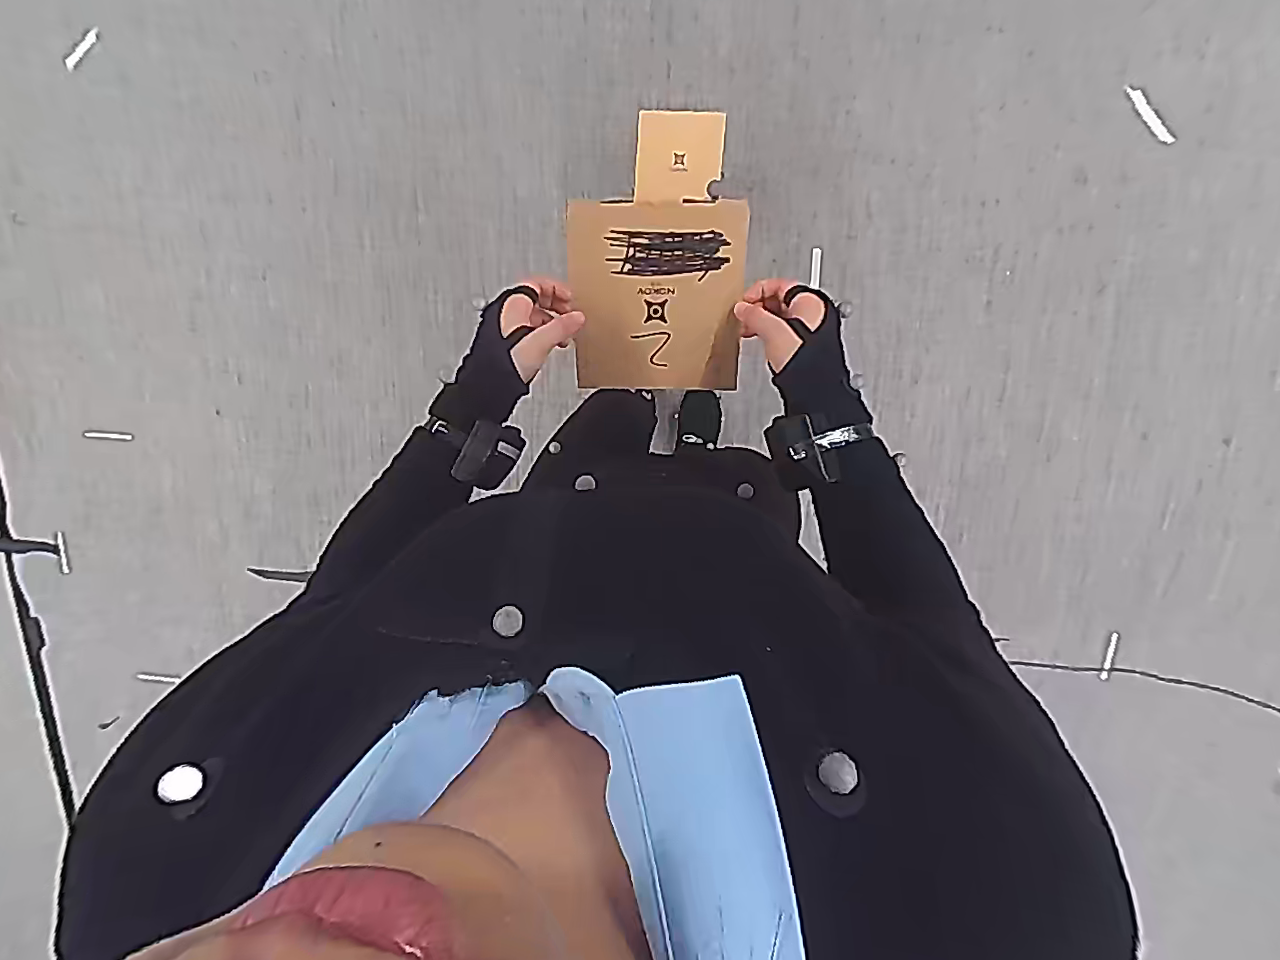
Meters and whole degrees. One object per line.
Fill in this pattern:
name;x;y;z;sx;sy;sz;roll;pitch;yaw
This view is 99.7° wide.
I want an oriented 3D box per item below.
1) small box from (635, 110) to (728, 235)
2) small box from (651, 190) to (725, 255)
small box;0.082;-0.616;1.099;0.168;0.176;0.179;4;103;4
small box;0.103;-0.642;1.258;0.168;0.176;0.179;-8;101;7
